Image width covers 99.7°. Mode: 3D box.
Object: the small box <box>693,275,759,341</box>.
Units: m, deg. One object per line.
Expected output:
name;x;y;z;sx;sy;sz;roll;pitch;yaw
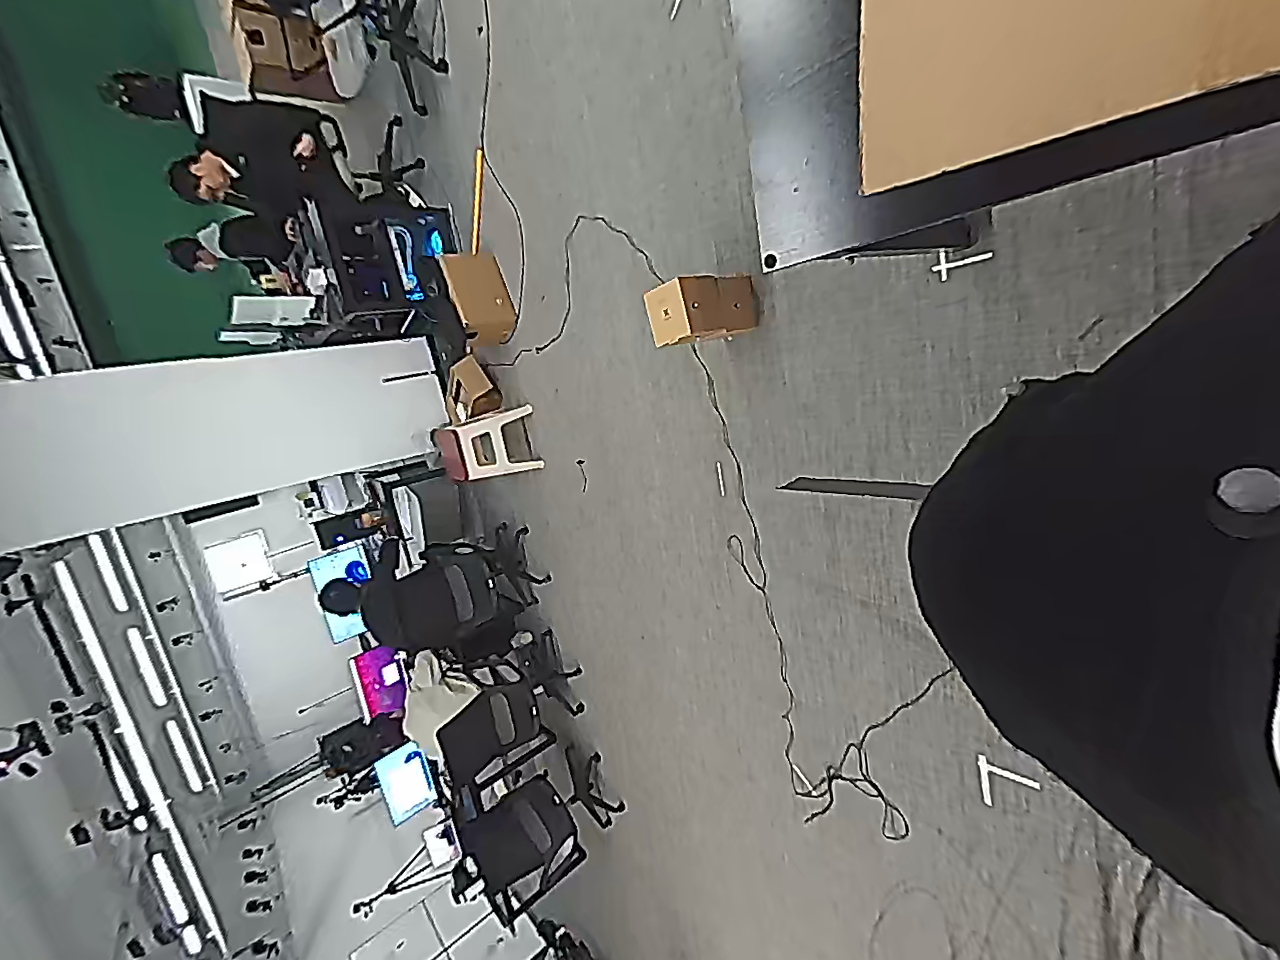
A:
small box;0.275;-0.578;1.813;0.168;0.176;0.179;-1;105;52

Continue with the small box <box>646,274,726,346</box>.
small box;0.150;-0.541;1.715;0.168;0.176;0.179;-6;100;52
